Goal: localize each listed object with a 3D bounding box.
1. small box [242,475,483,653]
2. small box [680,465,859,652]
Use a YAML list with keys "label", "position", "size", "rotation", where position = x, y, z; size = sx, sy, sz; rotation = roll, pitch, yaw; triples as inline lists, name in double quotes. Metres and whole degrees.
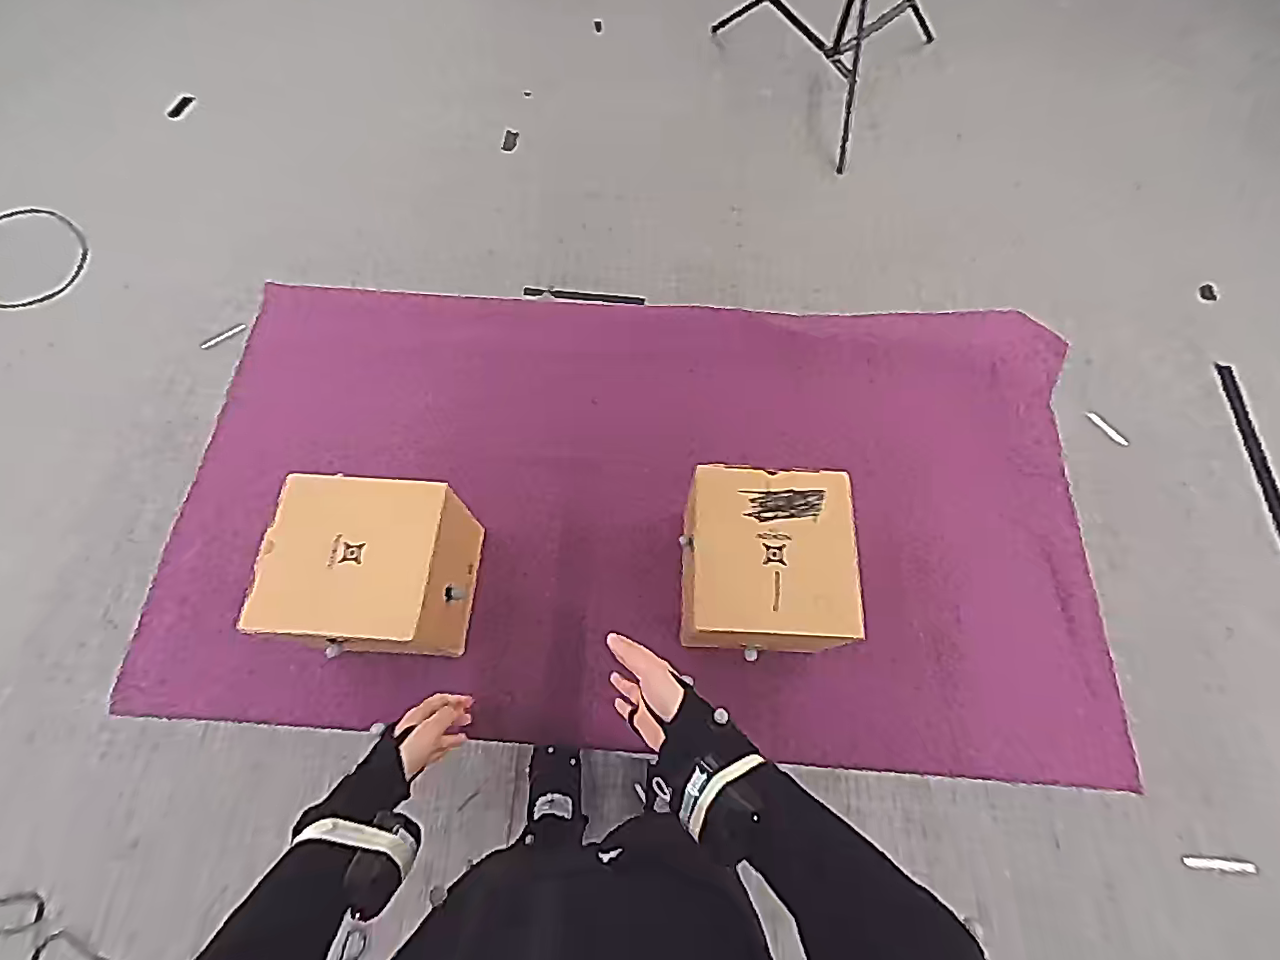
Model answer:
- label: "small box"
  position: [-0.296, 0.105, 0.625]
  size: [0.179, 0.176, 0.168]
  rotation: [3, 68, 1]
- label: "small box"
  position: [0.136, 0.099, 0.629]
  size: [0.168, 0.176, 0.179]
  rotation: [3, 69, 1]
